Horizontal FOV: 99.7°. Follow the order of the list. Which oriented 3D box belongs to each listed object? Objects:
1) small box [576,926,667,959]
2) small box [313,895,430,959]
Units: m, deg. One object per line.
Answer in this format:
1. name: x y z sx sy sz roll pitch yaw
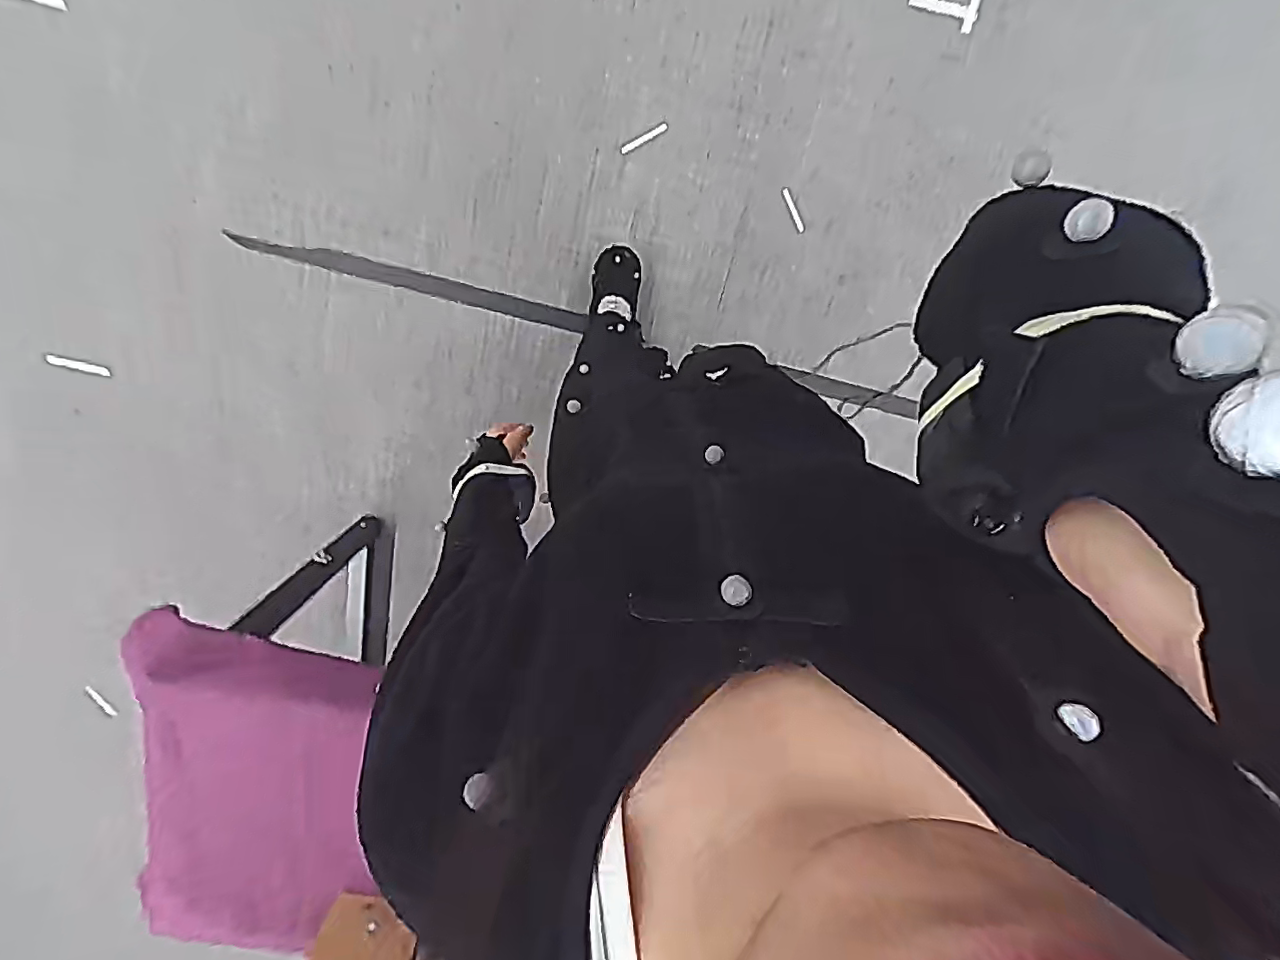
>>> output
1. small box: -0.043 0.962 0.981 0.168 0.176 0.179 12 105 -4
2. small box: -0.483 0.883 0.948 0.168 0.176 0.179 12 106 -6
